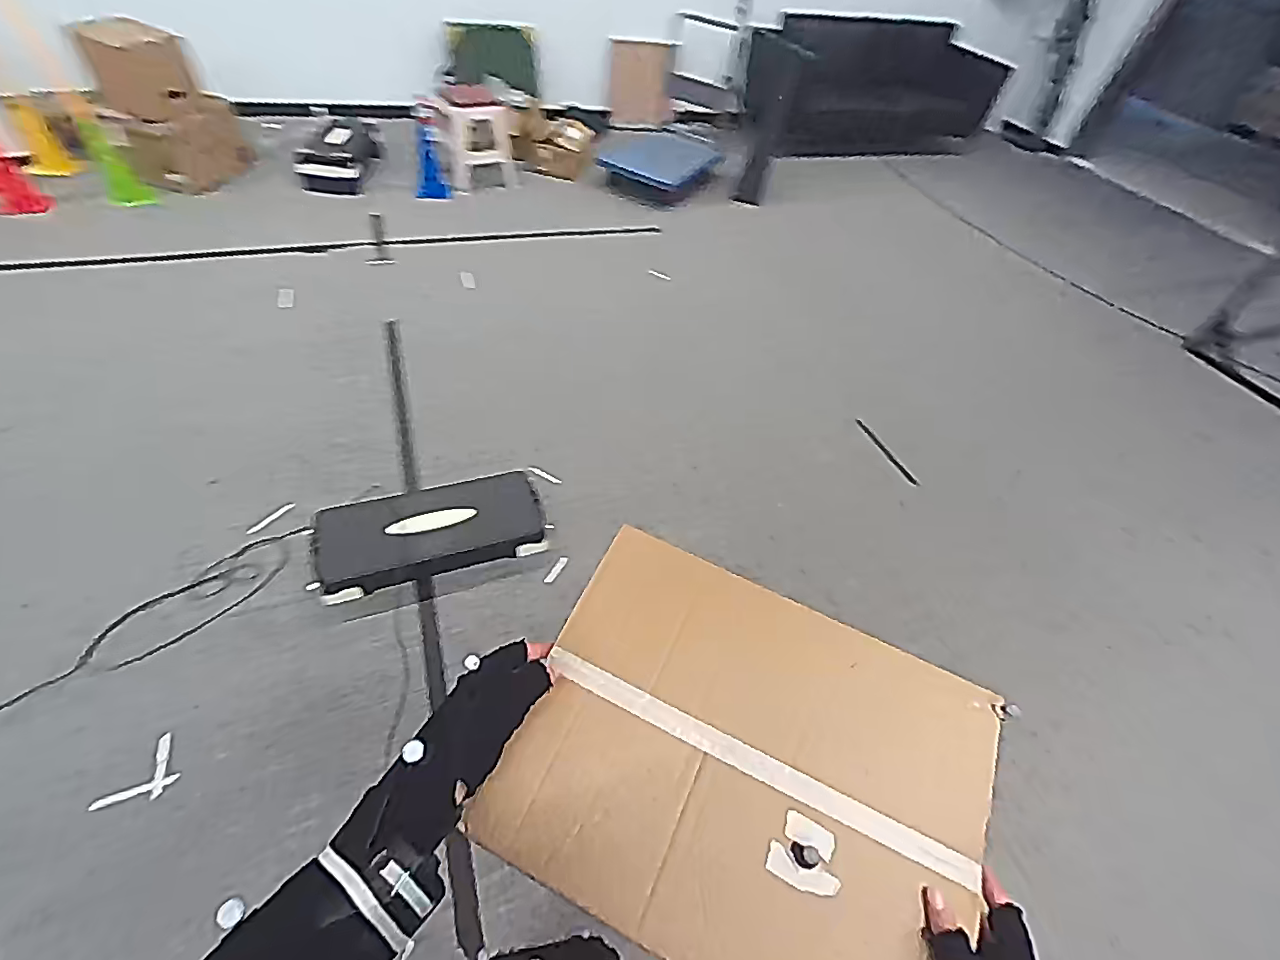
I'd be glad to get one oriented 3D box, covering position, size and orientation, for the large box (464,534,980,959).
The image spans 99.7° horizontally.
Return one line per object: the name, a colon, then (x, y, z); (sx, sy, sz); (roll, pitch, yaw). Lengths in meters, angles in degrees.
large box: (0.083, 0.322, 0.616); (0.408, 0.320, 0.320); (23, 62, 10)
